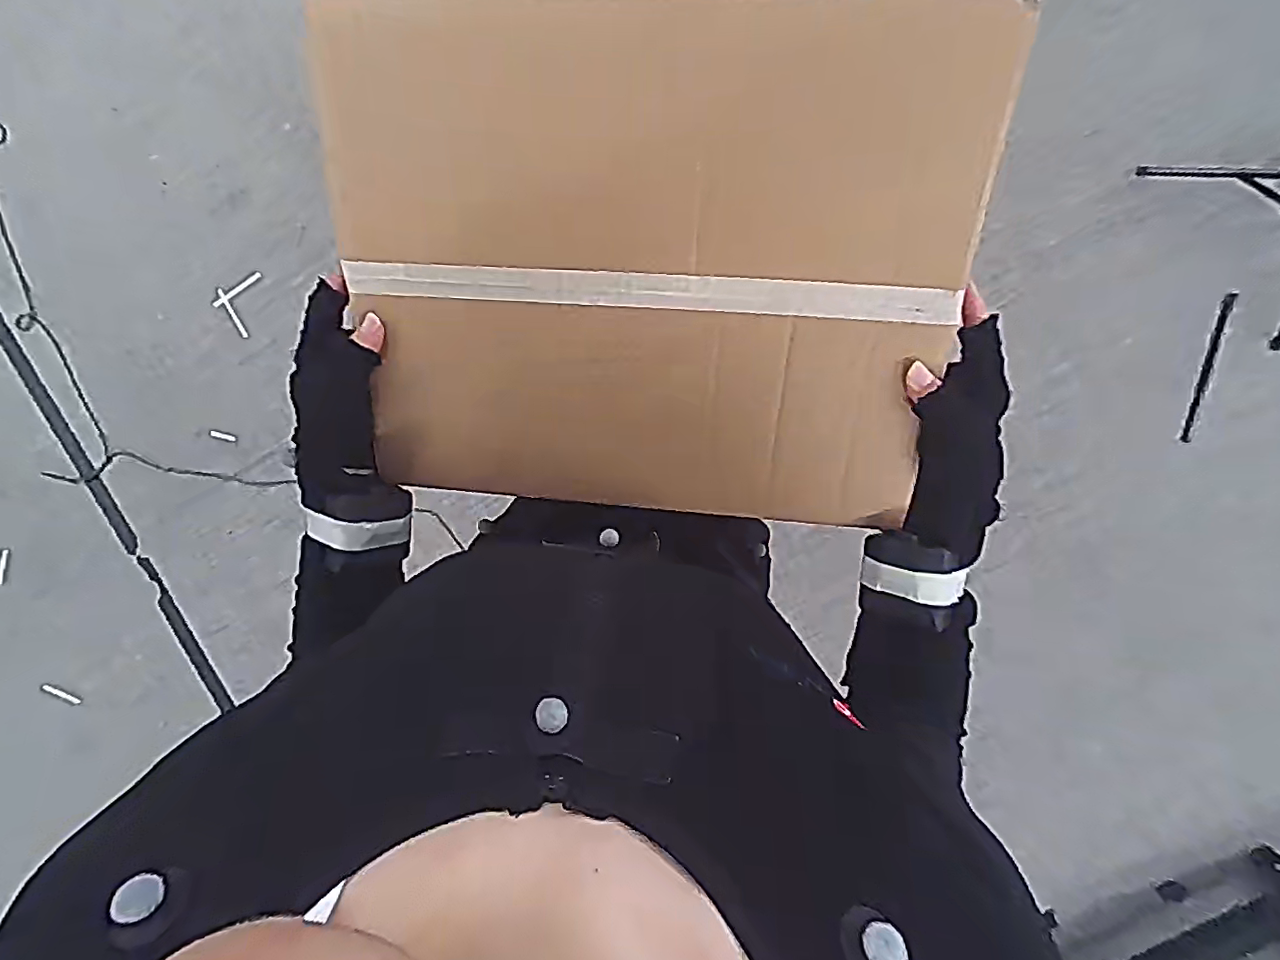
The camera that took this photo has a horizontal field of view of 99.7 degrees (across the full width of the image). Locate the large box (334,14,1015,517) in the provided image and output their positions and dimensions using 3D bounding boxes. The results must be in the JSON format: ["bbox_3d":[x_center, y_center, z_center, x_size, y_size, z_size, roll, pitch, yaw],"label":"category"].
[{"bbox_3d":[0.019,-0.182,0.505,0.408,0.320,0.320,5,115,5],"label":"large box"}]
